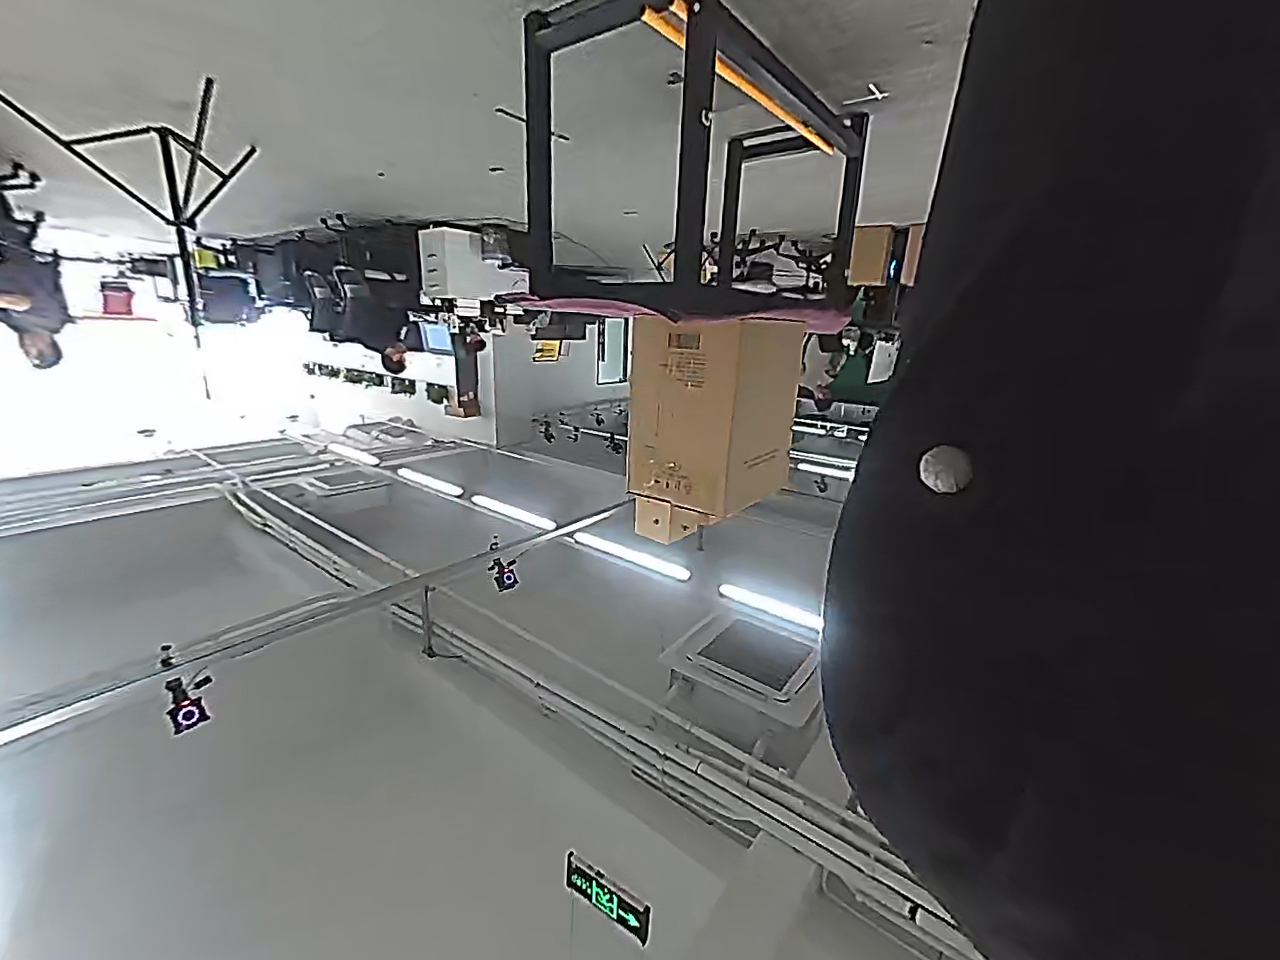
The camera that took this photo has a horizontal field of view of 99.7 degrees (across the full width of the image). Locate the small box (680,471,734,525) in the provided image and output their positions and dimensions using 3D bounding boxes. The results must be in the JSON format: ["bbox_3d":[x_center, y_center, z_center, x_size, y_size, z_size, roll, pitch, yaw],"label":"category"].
[{"bbox_3d":[0.269,0.064,2.187,0.168,0.176,0.179,12,-162,36],"label":"small box"}]

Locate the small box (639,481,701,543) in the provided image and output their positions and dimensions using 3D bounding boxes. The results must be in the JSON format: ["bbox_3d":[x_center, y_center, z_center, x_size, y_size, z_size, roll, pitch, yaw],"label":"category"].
[{"bbox_3d":[0.111,0.111,2.007,0.168,0.176,0.179,16,-156,39],"label":"small box"}]
